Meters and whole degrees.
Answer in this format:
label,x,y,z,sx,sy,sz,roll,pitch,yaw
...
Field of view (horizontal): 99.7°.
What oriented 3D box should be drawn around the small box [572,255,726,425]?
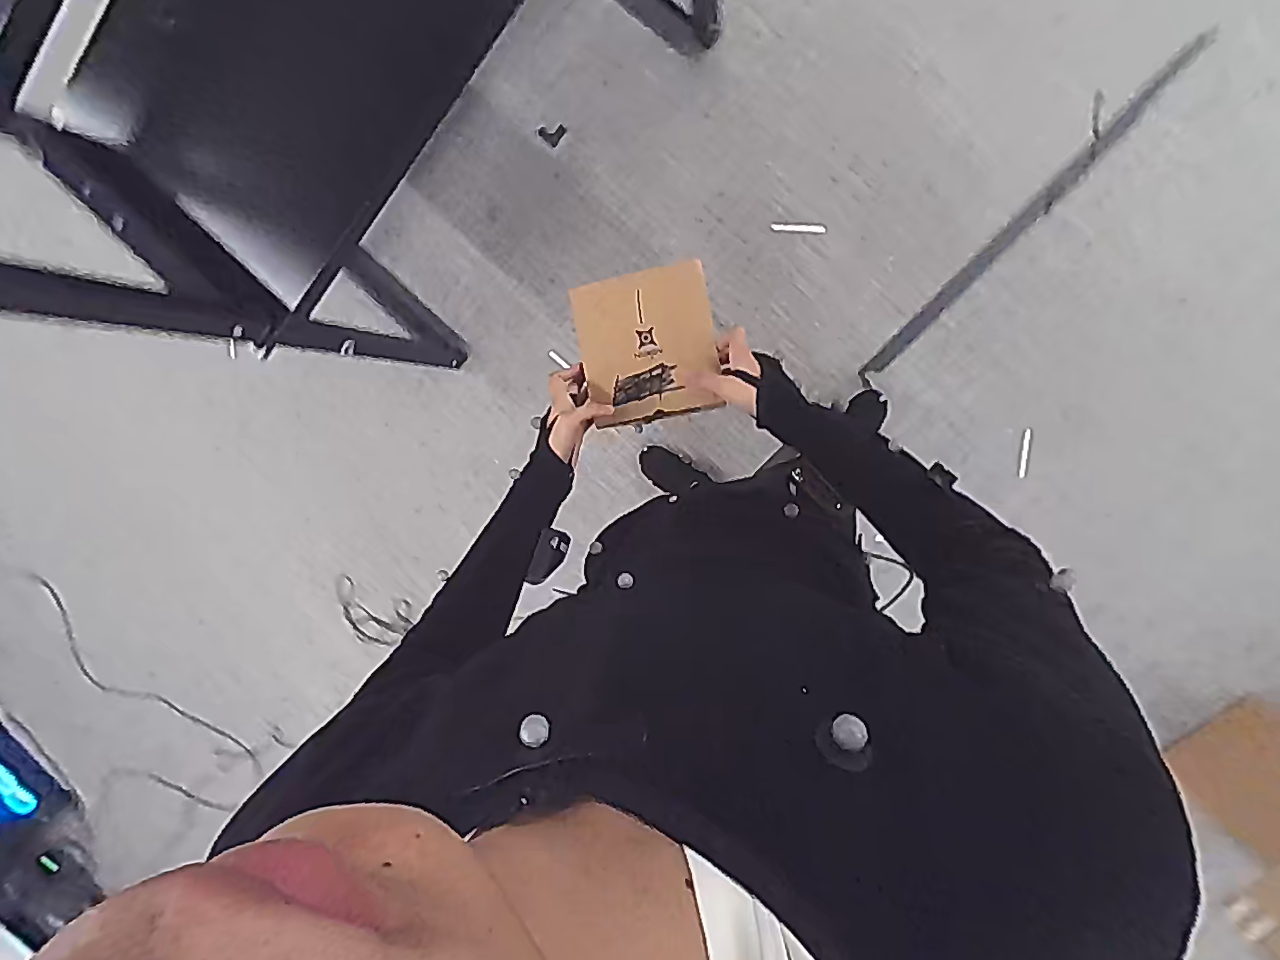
label,x,y,z,sx,sy,sz,roll,pitch,yaw
small box,0.023,-0.174,0.722,0.168,0.176,0.179,-9,95,9
